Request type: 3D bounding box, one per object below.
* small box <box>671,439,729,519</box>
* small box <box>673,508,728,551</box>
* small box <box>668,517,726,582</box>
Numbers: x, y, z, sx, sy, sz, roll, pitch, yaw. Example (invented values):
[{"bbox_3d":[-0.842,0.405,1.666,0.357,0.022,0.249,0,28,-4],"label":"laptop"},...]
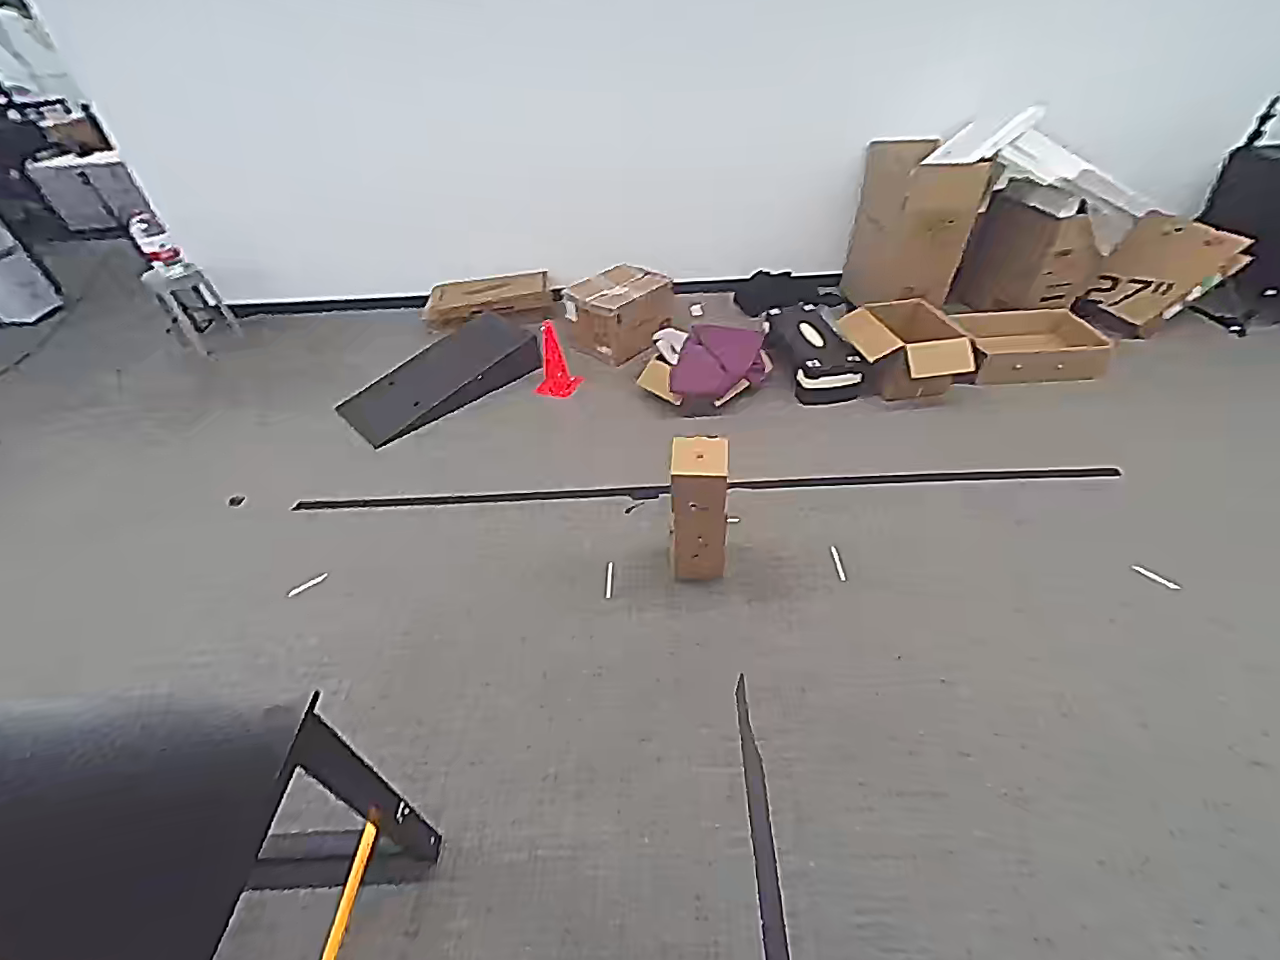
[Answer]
[{"bbox_3d":[0.182,-0.004,1.643,0.168,0.176,0.179,1,43,6],"label":"small box"},{"bbox_3d":[0.191,0.112,1.756,0.168,0.176,0.179,-2,42,2],"label":"small box"},{"bbox_3d":[0.194,0.235,1.866,0.179,0.176,0.168,-4,42,-1],"label":"small box"}]
